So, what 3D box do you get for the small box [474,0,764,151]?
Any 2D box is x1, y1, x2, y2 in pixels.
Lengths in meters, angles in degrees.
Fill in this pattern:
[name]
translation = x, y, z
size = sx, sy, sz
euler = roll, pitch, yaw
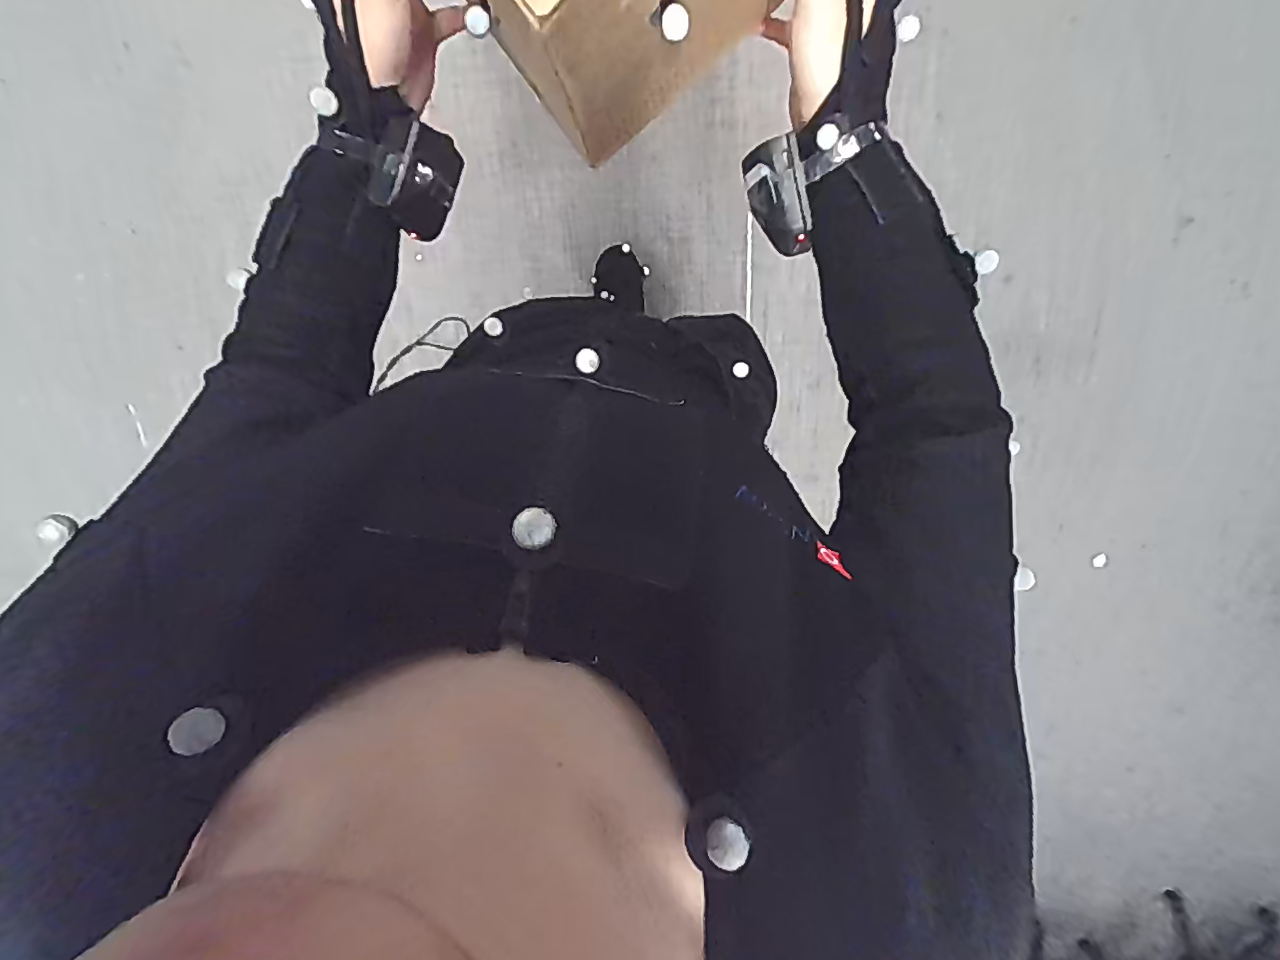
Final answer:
[small box]
translation = -0.025, -0.337, 0.308
size = 0.179, 0.176, 0.168
euler = -38, 95, 10
